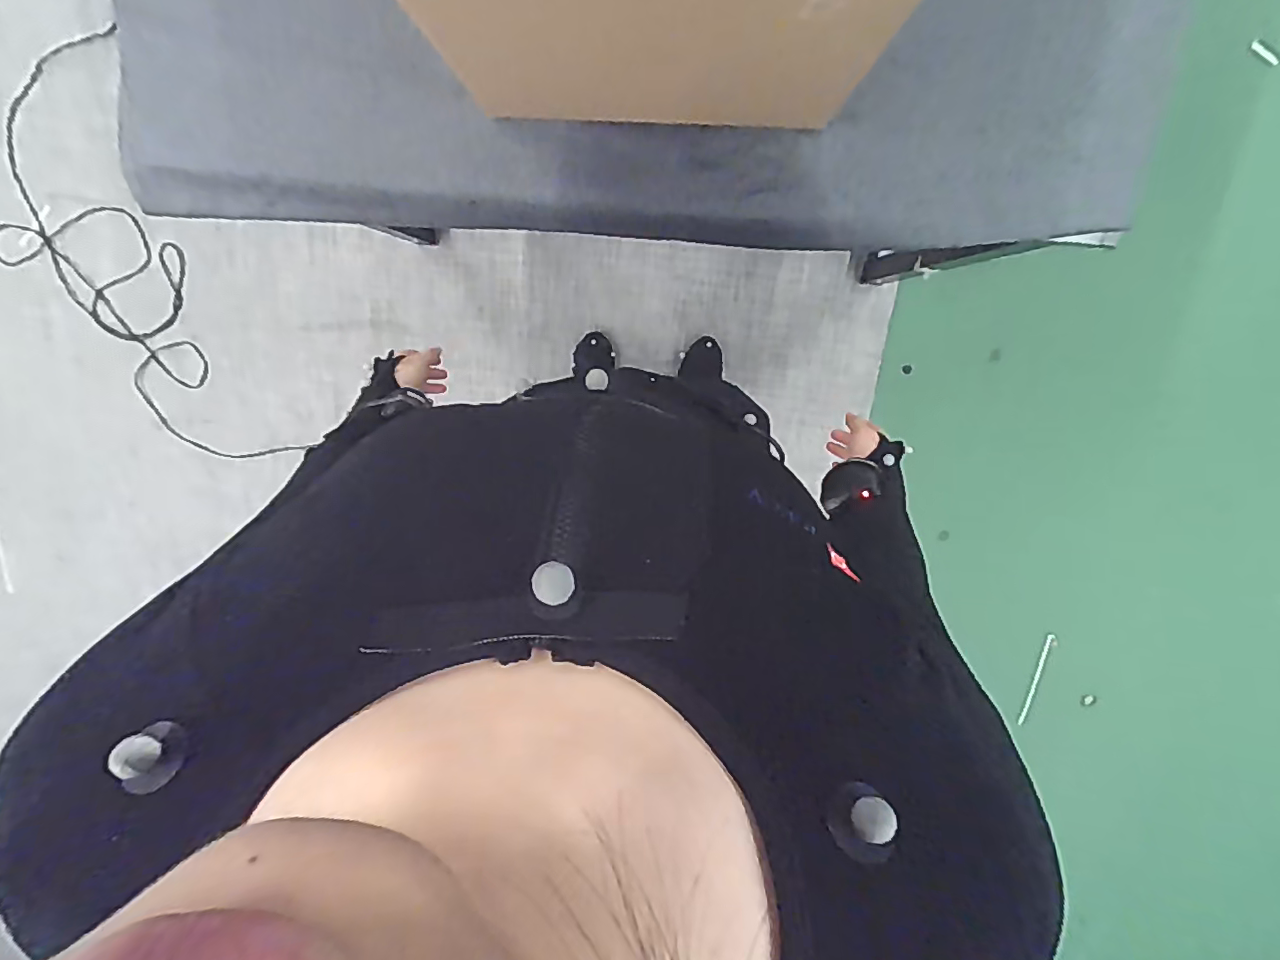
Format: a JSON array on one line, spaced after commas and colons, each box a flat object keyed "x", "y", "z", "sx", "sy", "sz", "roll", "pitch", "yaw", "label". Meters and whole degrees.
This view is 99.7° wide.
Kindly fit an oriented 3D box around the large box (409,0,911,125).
[{"x": 0.017, "y": -0.537, "z": 0.468, "sx": 0.408, "sy": 0.320, "sz": 0.320, "roll": 2, "pitch": 105, "yaw": 1, "label": "large box"}]
